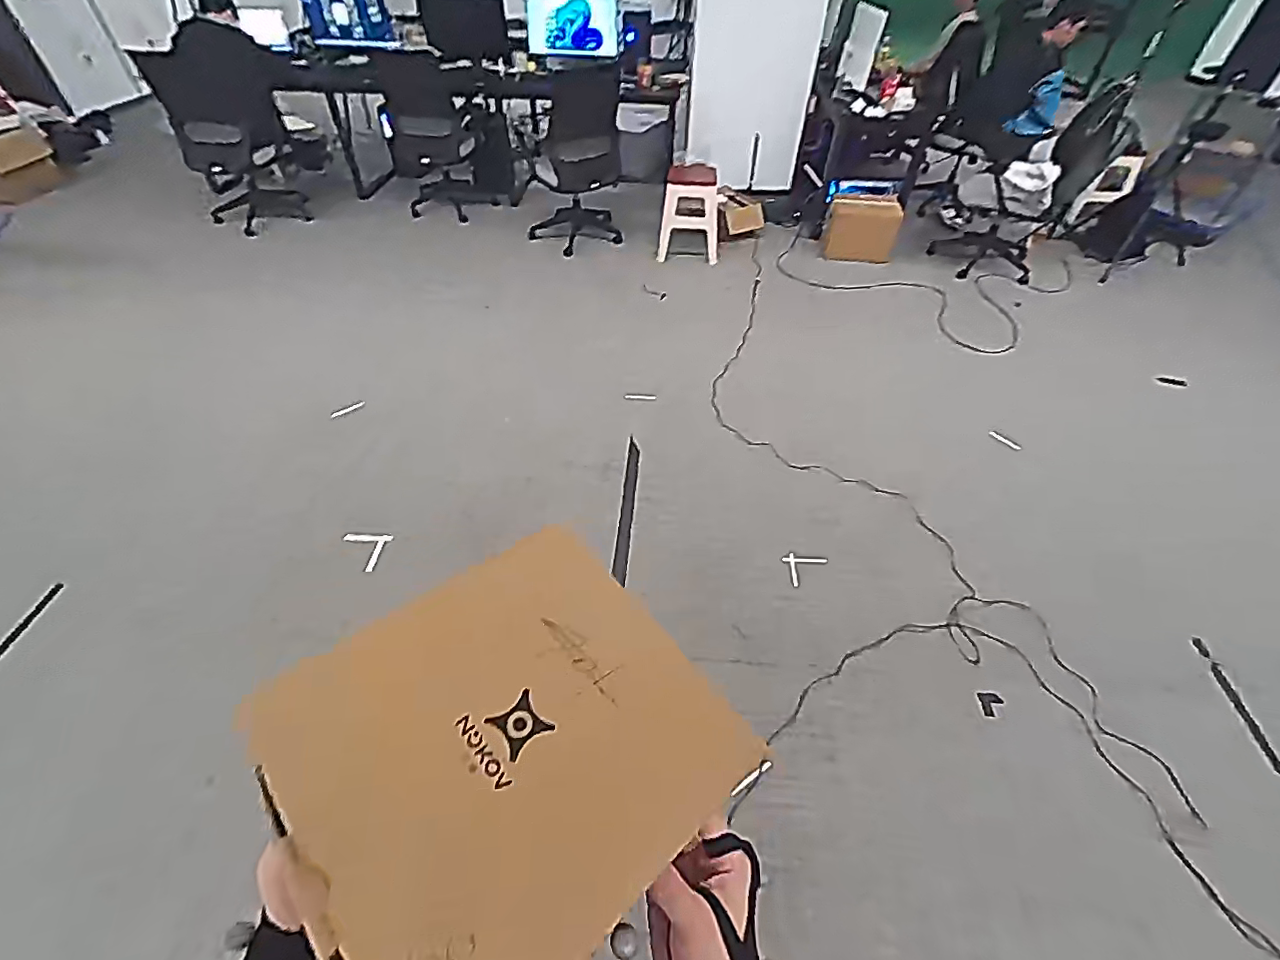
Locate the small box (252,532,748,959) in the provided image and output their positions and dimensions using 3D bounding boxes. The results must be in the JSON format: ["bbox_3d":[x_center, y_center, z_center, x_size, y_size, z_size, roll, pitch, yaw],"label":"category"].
[{"bbox_3d":[-0.073,0.170,0.313,0.179,0.176,0.168,-30,62,-34],"label":"small box"}]
